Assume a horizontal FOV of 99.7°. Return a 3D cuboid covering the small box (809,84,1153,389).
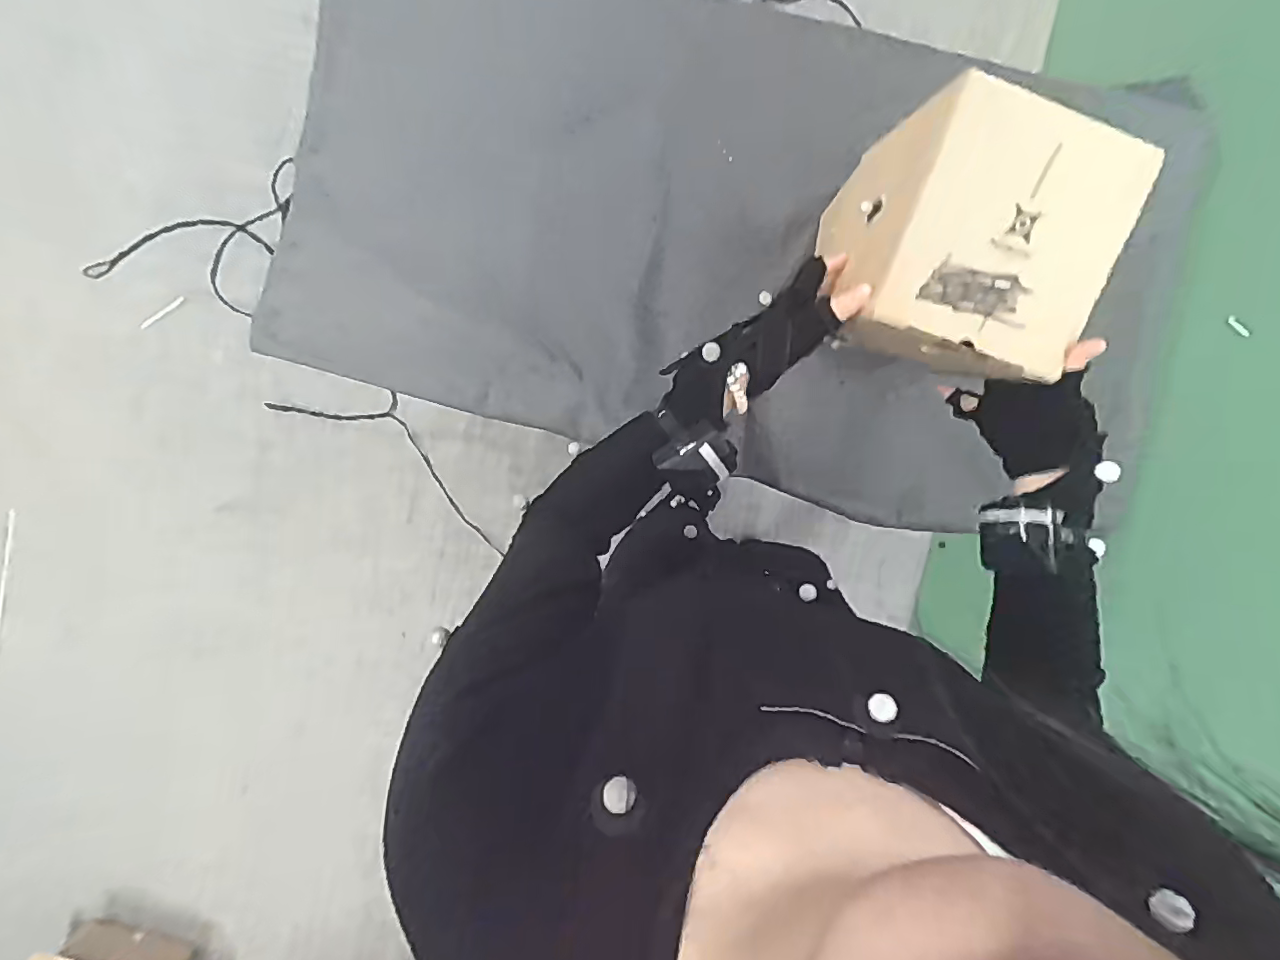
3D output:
[{"bbox_3d":[0.273,-0.194,0.485,0.168,0.176,0.179,18,101,-7],"label":"small box"}]
